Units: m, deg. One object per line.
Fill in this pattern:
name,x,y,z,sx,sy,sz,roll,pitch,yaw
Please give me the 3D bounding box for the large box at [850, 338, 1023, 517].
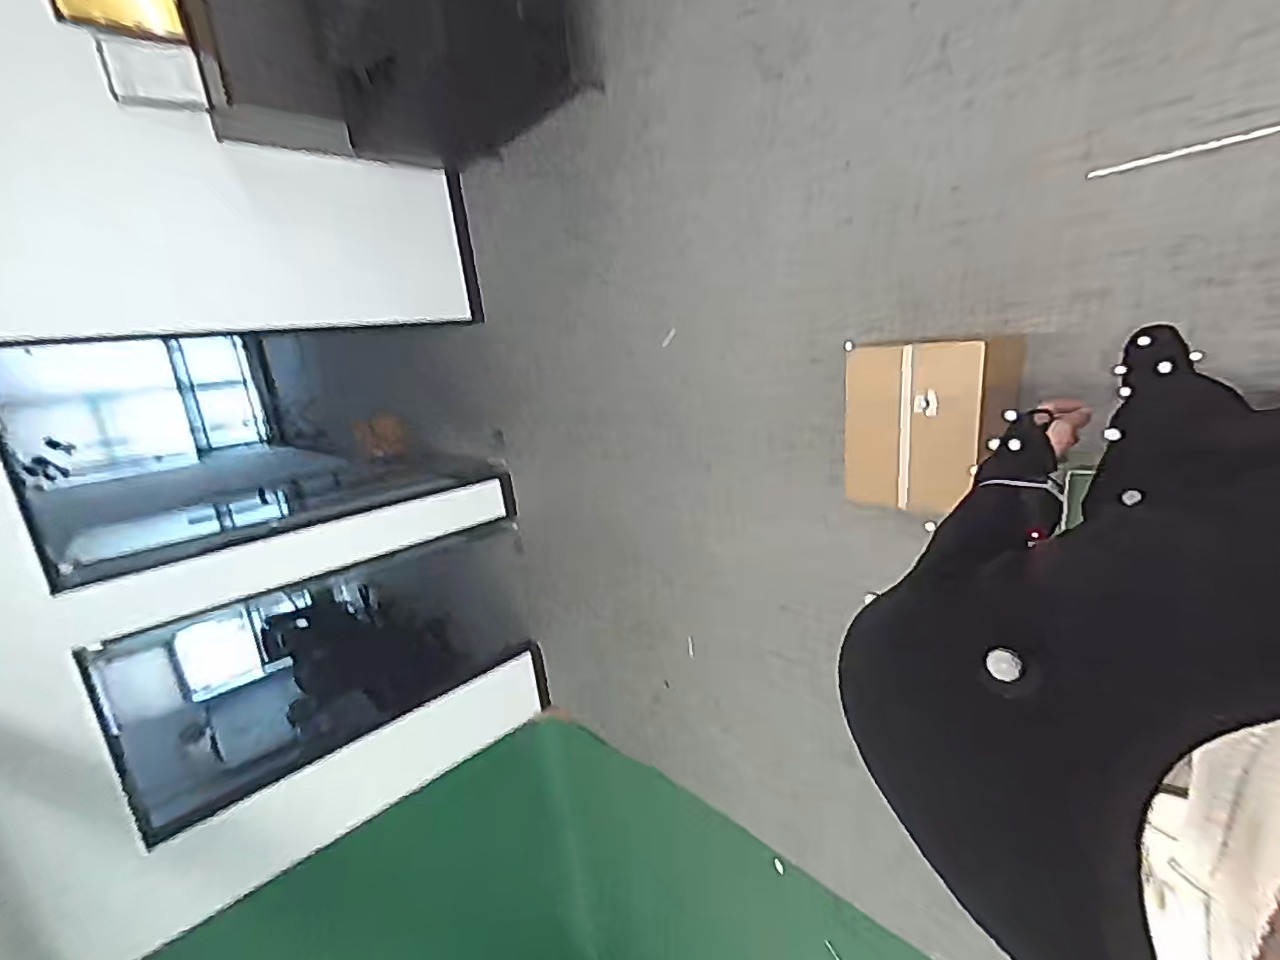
large box,0.769,-0.151,1.414,0.320,0.320,0.408,10,110,46
